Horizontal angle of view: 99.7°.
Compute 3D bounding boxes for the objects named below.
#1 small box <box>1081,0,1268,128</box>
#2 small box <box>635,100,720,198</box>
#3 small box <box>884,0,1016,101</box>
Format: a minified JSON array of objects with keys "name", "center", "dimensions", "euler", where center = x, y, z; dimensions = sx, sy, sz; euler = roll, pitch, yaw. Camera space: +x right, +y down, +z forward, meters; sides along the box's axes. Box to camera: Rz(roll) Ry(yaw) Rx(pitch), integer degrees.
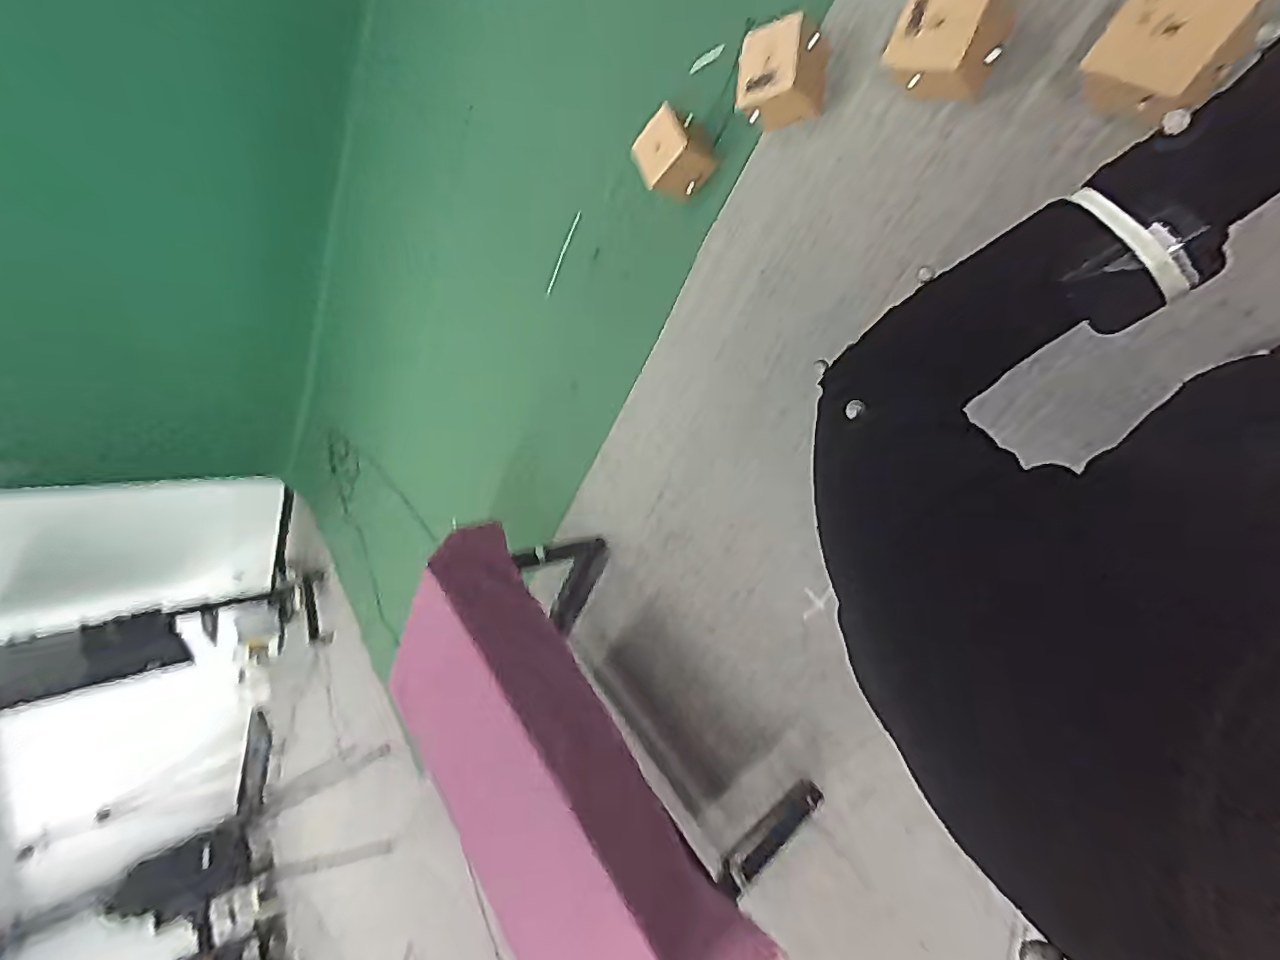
[{"name":"small box","center":[0.939,-0.762,0.958],"dimensions":[0.179,0.176,0.168],"euler":[49,123,28]},{"name":"small box","center":[0.119,-1.033,1.703],"dimensions":[0.168,0.176,0.179],"euler":[-32,72,40]},{"name":"small box","center":[0.678,-0.962,1.183],"dimensions":[0.179,0.176,0.168],"euler":[36,117,34]}]
